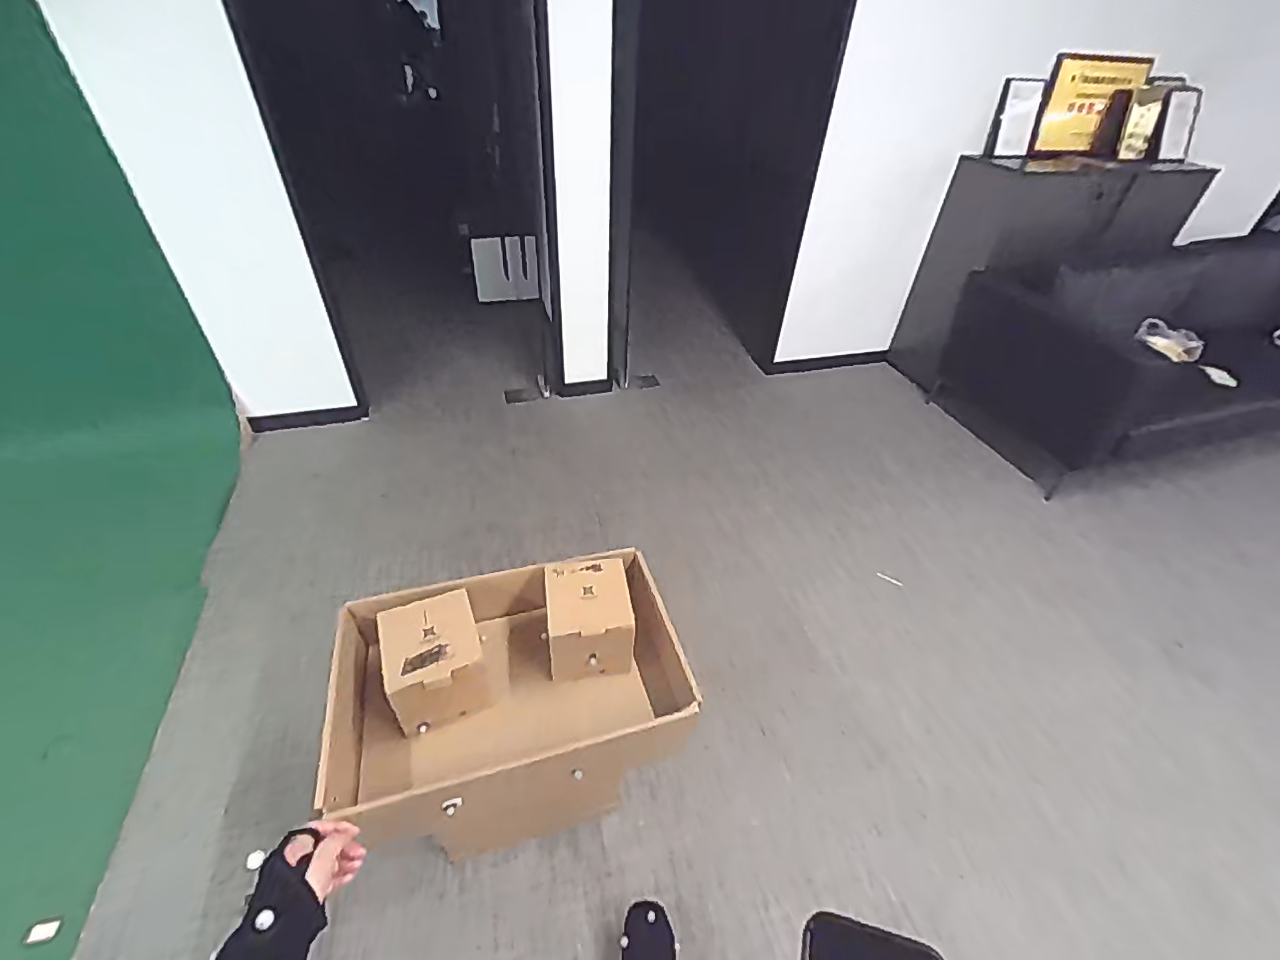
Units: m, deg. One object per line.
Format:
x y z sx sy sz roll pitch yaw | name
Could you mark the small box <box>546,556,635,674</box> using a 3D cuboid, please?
-0.104 0.285 1.122 0.168 0.176 0.179 -5 42 -9 | small box
